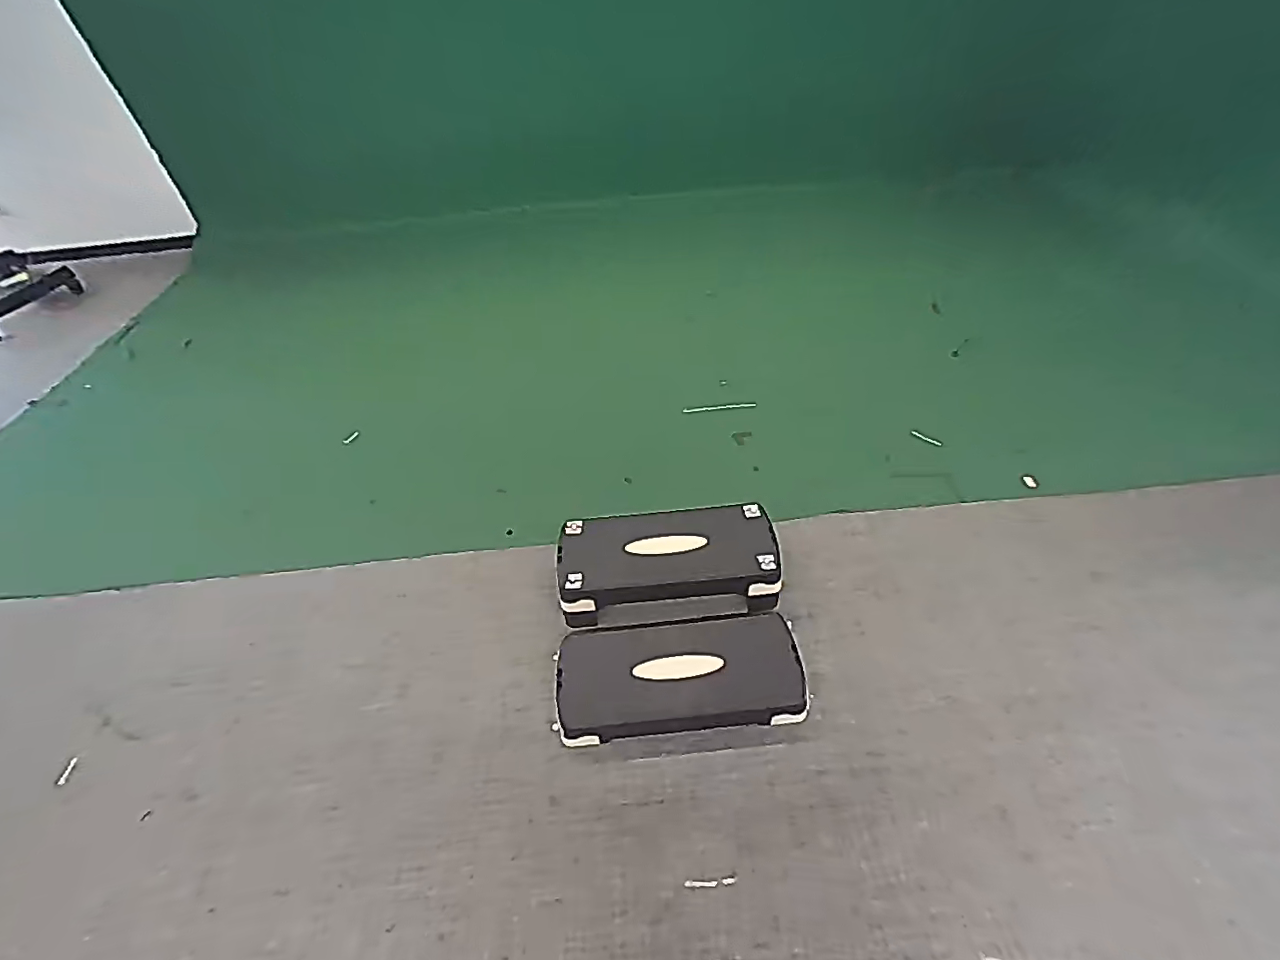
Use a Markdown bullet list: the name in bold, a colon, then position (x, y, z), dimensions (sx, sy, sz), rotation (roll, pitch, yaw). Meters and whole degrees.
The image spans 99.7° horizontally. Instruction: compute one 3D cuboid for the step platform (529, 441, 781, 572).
- **step platform**: position (0.040, 0.077, 1.557), dimensions (0.684, 0.204, 0.286), rotation (-6, 47, 0)
